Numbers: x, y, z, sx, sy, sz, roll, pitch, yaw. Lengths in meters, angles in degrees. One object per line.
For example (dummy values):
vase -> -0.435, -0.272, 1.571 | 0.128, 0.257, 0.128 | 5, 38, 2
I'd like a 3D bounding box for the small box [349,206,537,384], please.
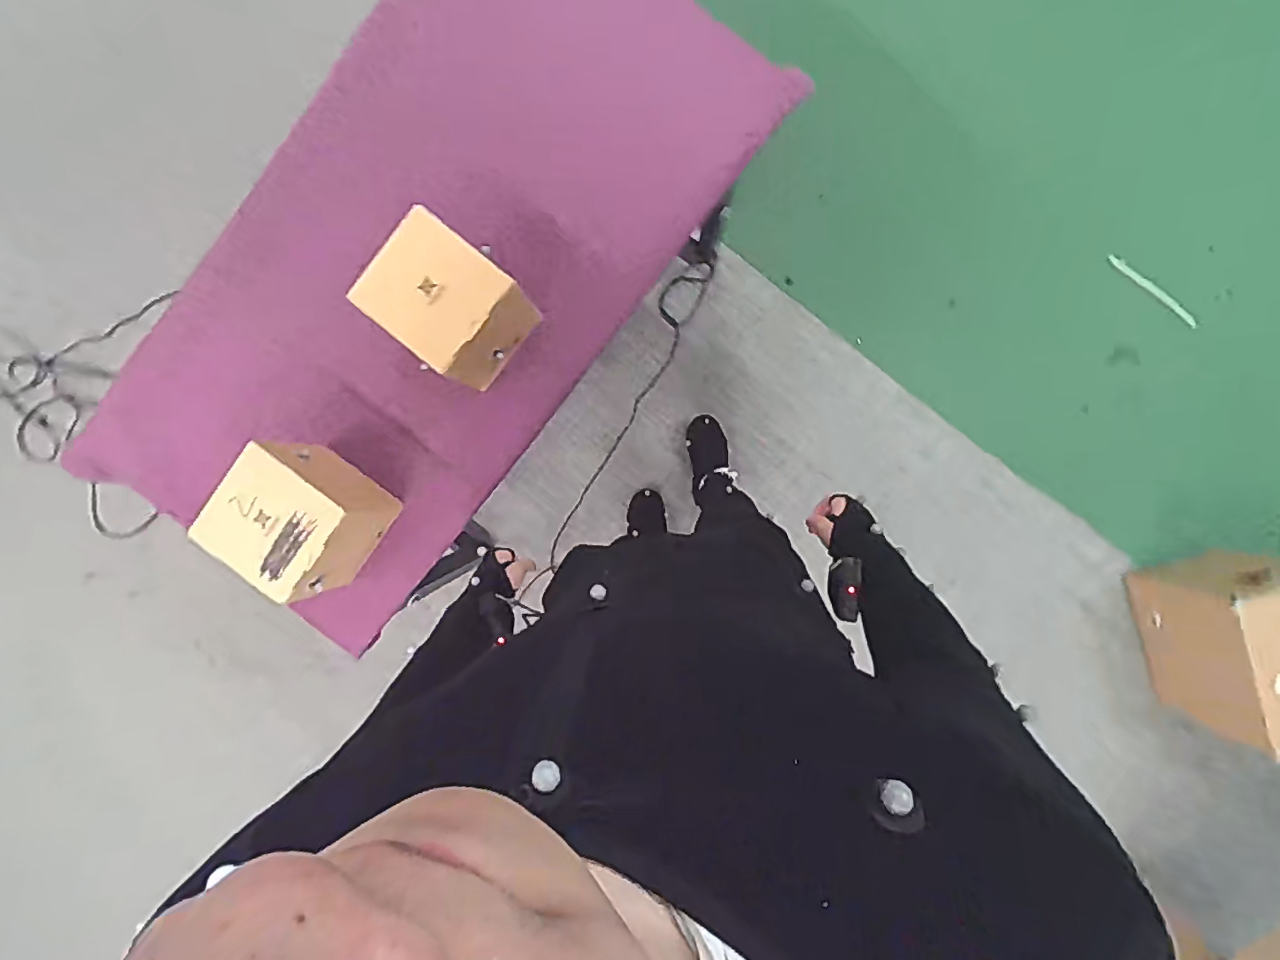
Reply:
small box -> -0.285, -0.264, 0.823 | 0.179, 0.176, 0.168 | 38, 92, 0
